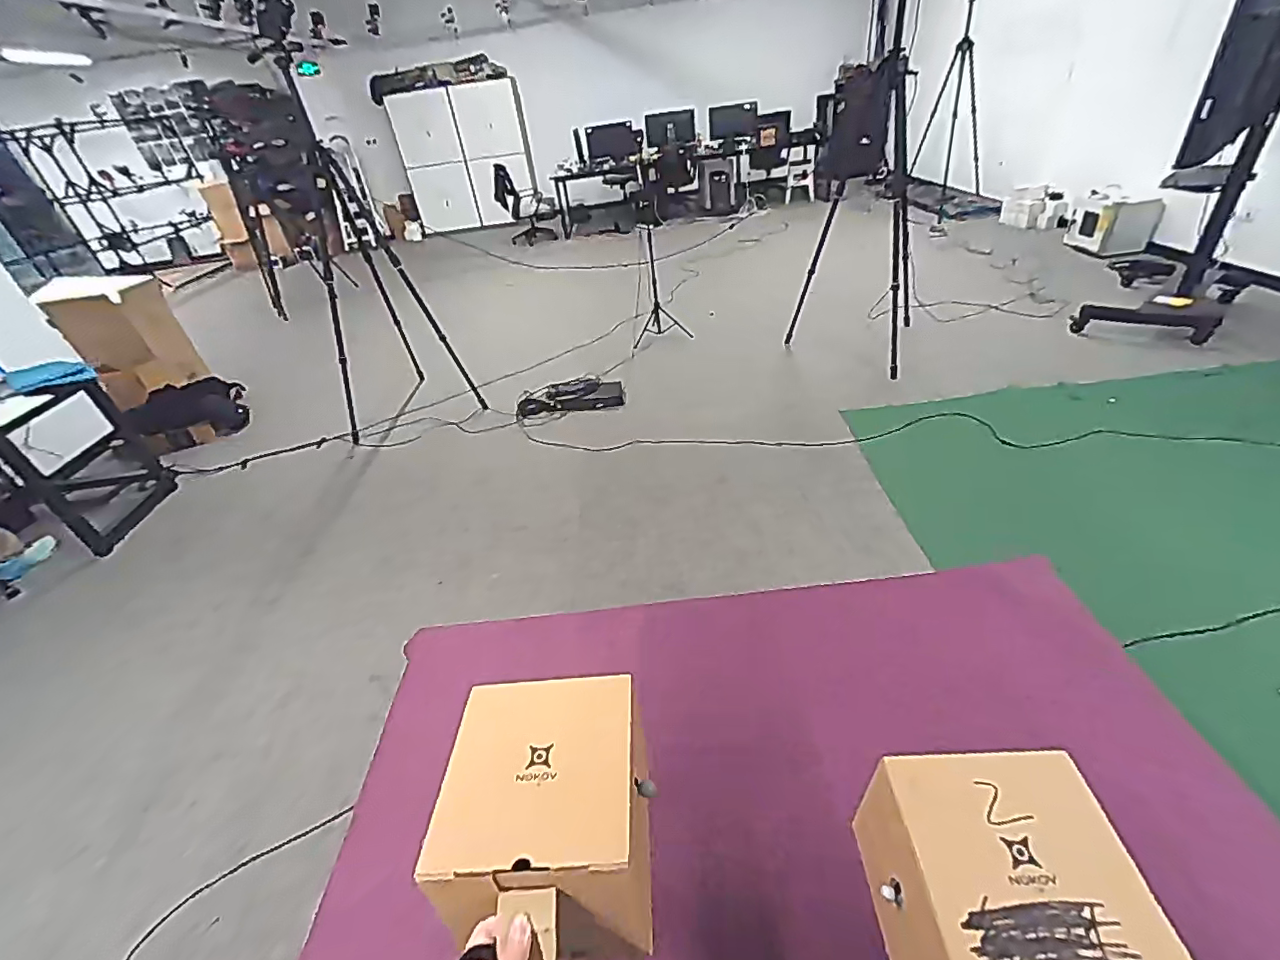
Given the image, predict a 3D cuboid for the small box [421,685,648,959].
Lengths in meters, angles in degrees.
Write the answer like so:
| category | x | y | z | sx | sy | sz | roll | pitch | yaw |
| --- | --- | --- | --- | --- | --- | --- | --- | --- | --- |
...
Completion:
| category | x | y | z | sx | sy | sz | roll | pitch | yaw |
| --- | --- | --- | --- | --- | --- | --- | --- | --- | --- |
| small box | -0.083 | 0.330 | 0.525 | 0.168 | 0.176 | 0.179 | -6 | 31 | 2 |
